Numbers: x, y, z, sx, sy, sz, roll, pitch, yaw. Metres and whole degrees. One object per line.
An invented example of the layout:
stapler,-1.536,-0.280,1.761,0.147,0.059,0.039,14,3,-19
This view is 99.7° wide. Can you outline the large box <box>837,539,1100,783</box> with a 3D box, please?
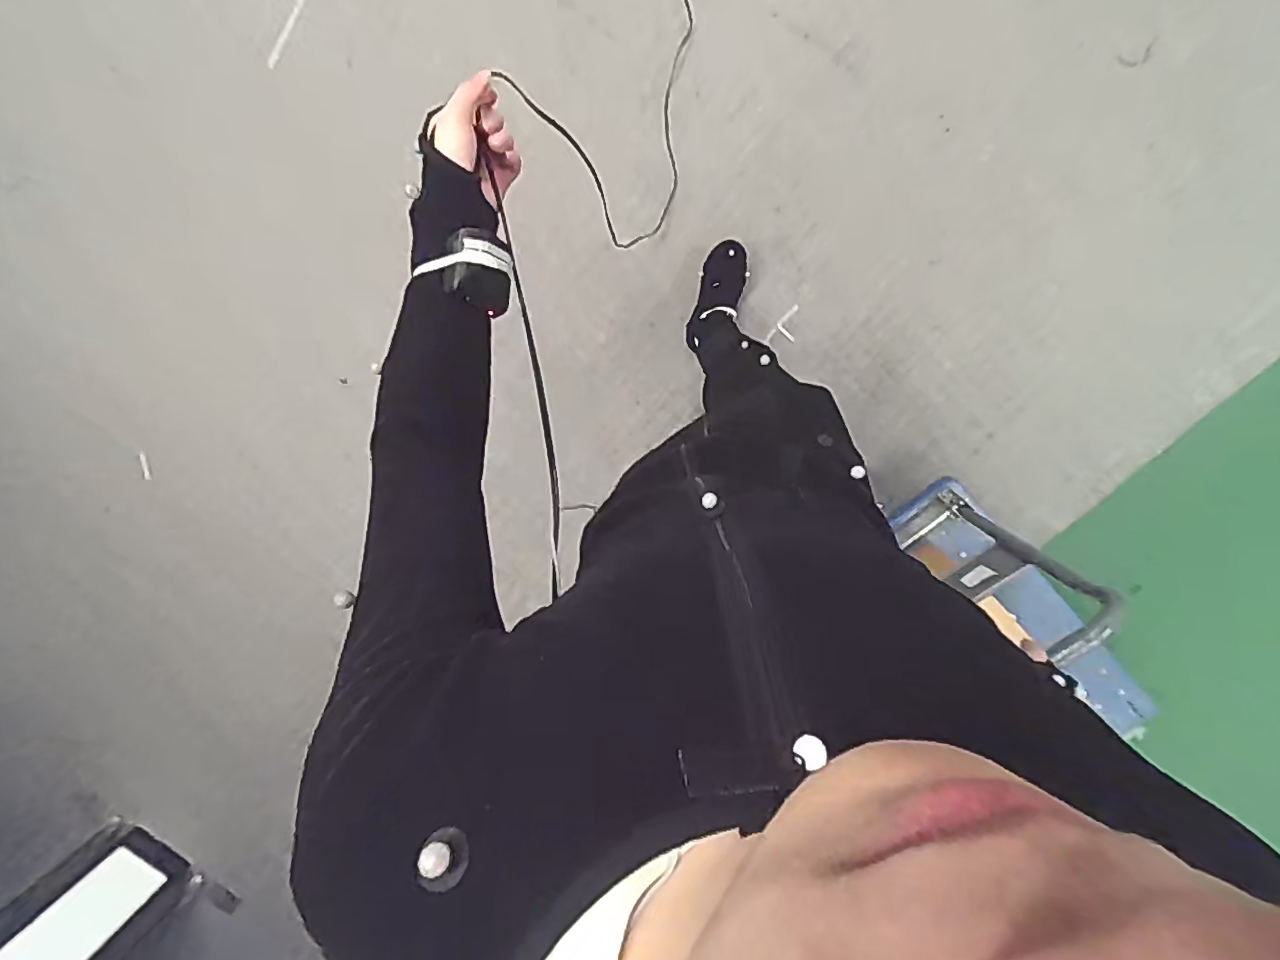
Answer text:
large box,0.763,0.420,1.325,0.320,0.320,0.408,-43,96,15
